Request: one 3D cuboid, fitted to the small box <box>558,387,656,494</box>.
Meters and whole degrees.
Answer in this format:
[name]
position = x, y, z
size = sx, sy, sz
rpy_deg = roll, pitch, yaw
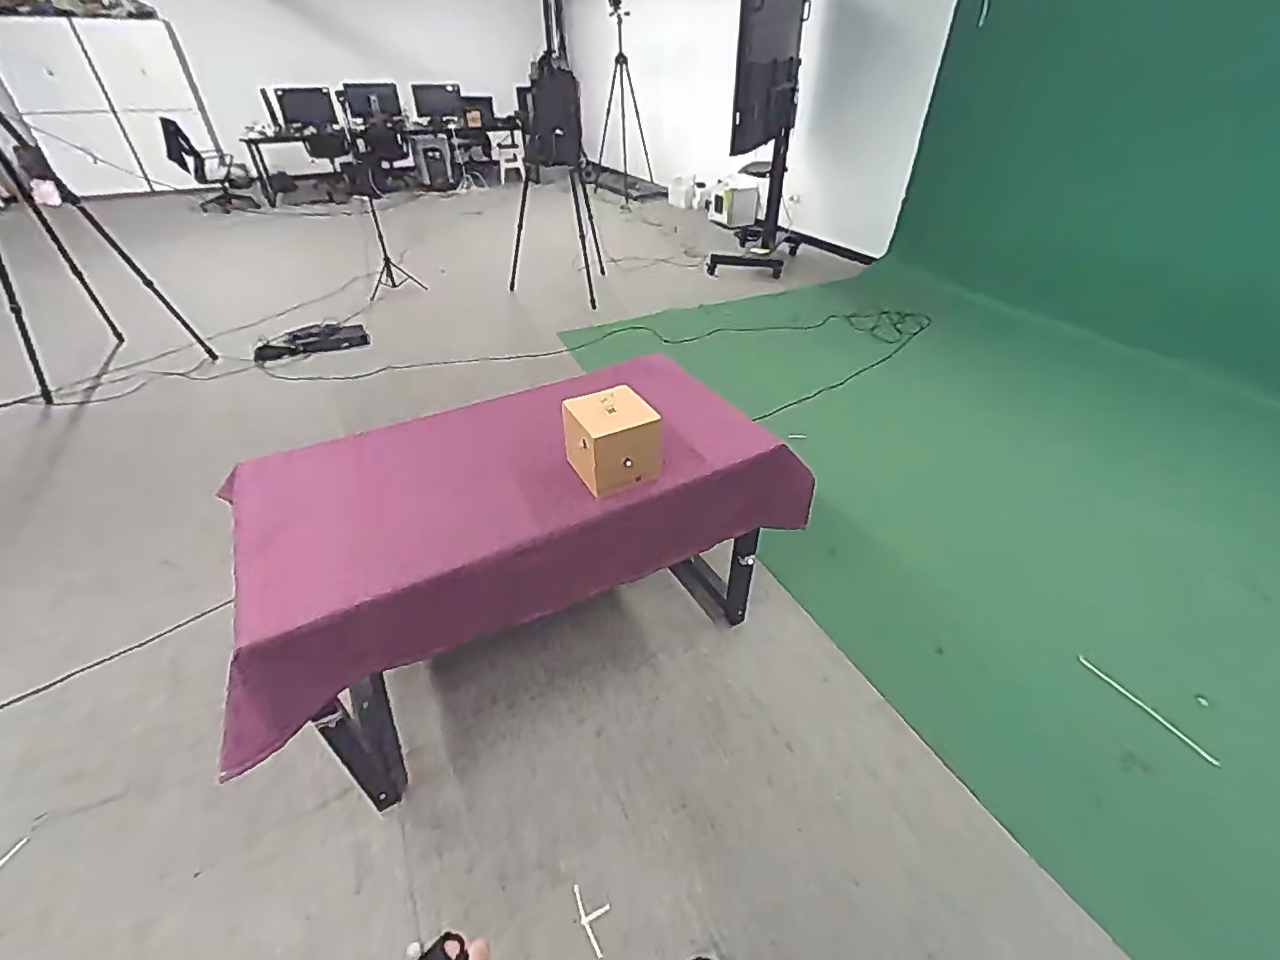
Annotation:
[small box]
position = -0.074, -0.086, 1.240
size = 0.168, 0.176, 0.179
rpy_deg = -19, 41, -22
